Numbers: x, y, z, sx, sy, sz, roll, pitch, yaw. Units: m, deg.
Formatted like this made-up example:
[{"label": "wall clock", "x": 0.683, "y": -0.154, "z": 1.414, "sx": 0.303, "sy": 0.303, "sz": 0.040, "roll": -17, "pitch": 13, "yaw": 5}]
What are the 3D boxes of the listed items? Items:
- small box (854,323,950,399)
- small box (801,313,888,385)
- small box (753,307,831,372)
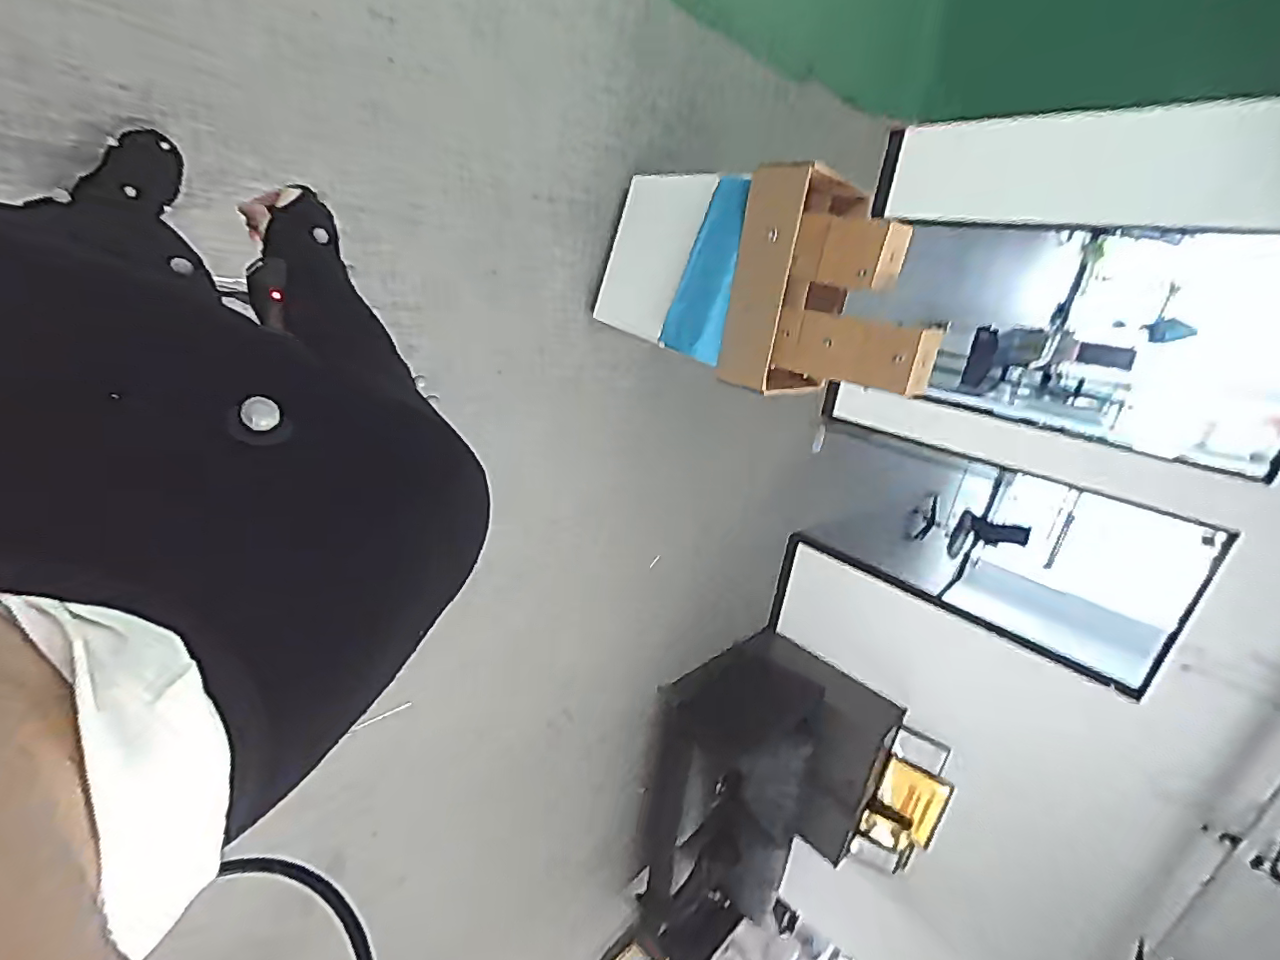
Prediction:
[{"label": "small box", "x": 0.709, "y": -0.328, "z": 1.473, "sx": 0.168, "sy": 0.176, "sz": 0.179, "roll": -13, "pitch": 119, "yaw": -44}, {"label": "small box", "x": 0.589, "y": -0.381, "z": 1.570, "sx": 0.168, "sy": 0.176, "sz": 0.179, "roll": -14, "pitch": 118, "yaw": -45}, {"label": "small box", "x": 0.472, "y": -0.434, "z": 1.672, "sx": 0.168, "sy": 0.176, "sz": 0.179, "roll": -12, "pitch": 117, "yaw": -45}]
